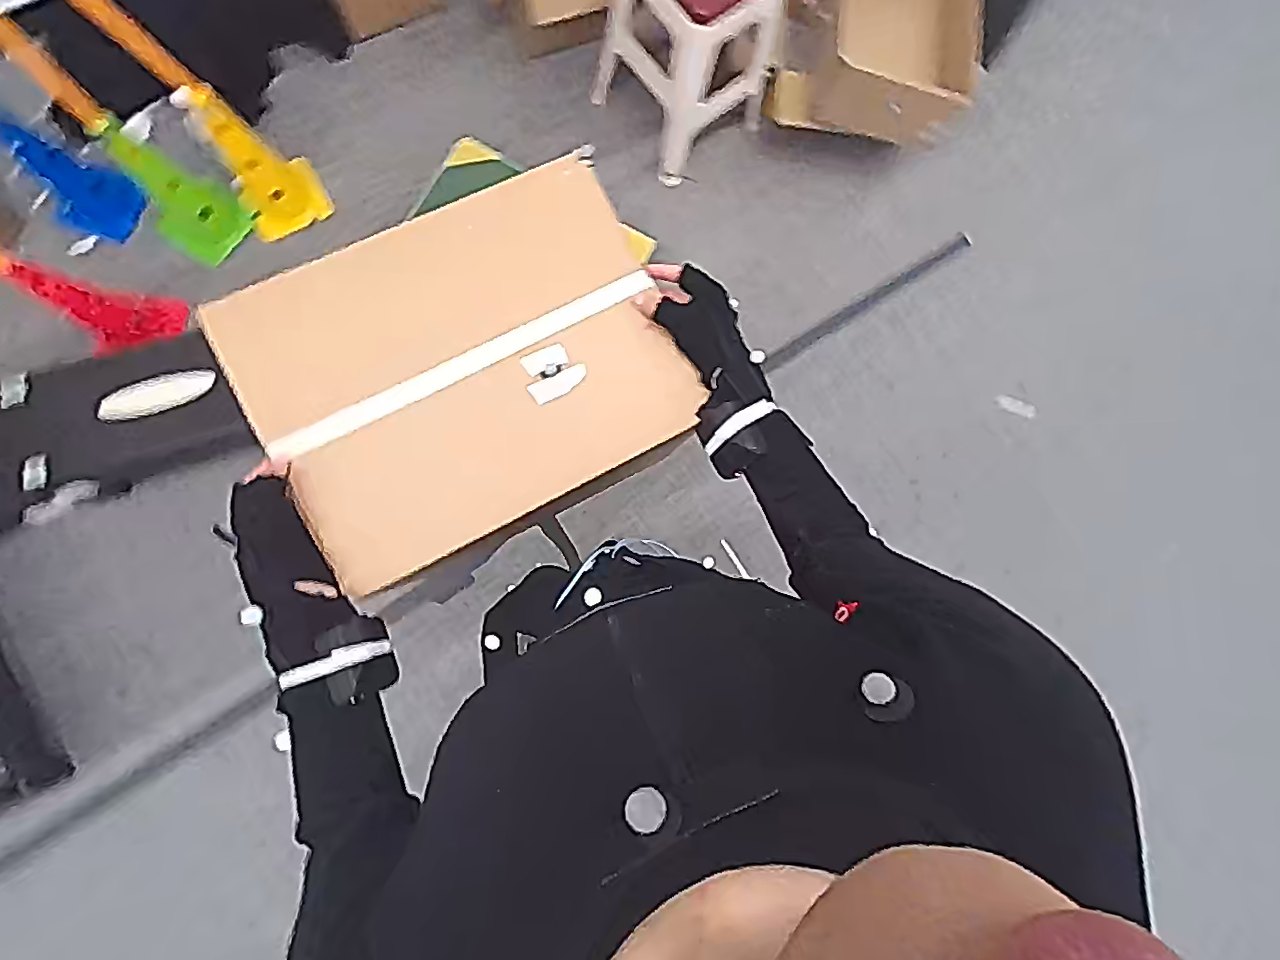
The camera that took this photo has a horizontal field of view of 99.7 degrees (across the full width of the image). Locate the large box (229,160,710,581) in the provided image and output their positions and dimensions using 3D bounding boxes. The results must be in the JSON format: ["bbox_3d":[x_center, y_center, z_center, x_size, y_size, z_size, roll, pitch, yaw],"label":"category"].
[{"bbox_3d":[-0.183,-0.109,0.701,0.408,0.320,0.320,-27,89,-9],"label":"large box"}]
